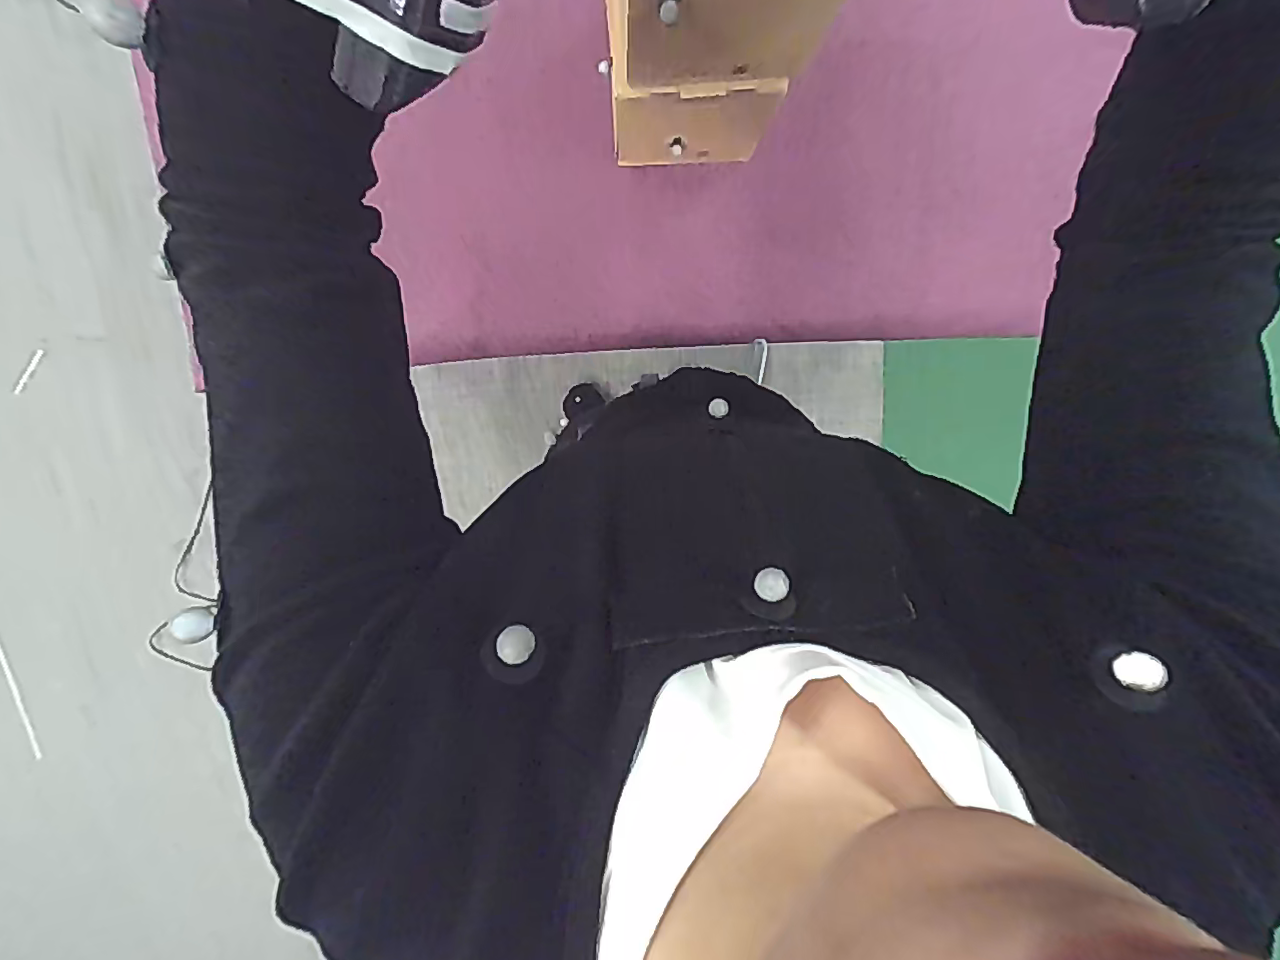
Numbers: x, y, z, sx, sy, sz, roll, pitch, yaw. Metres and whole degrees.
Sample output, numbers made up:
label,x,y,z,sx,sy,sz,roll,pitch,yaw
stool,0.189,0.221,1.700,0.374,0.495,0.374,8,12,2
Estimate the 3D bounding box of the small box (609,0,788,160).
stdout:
label,x,y,z,sx,sy,sz,roll,pitch,yaw
small box,0.052,-0.468,0.575,0.168,0.176,0.179,-3,102,-1
